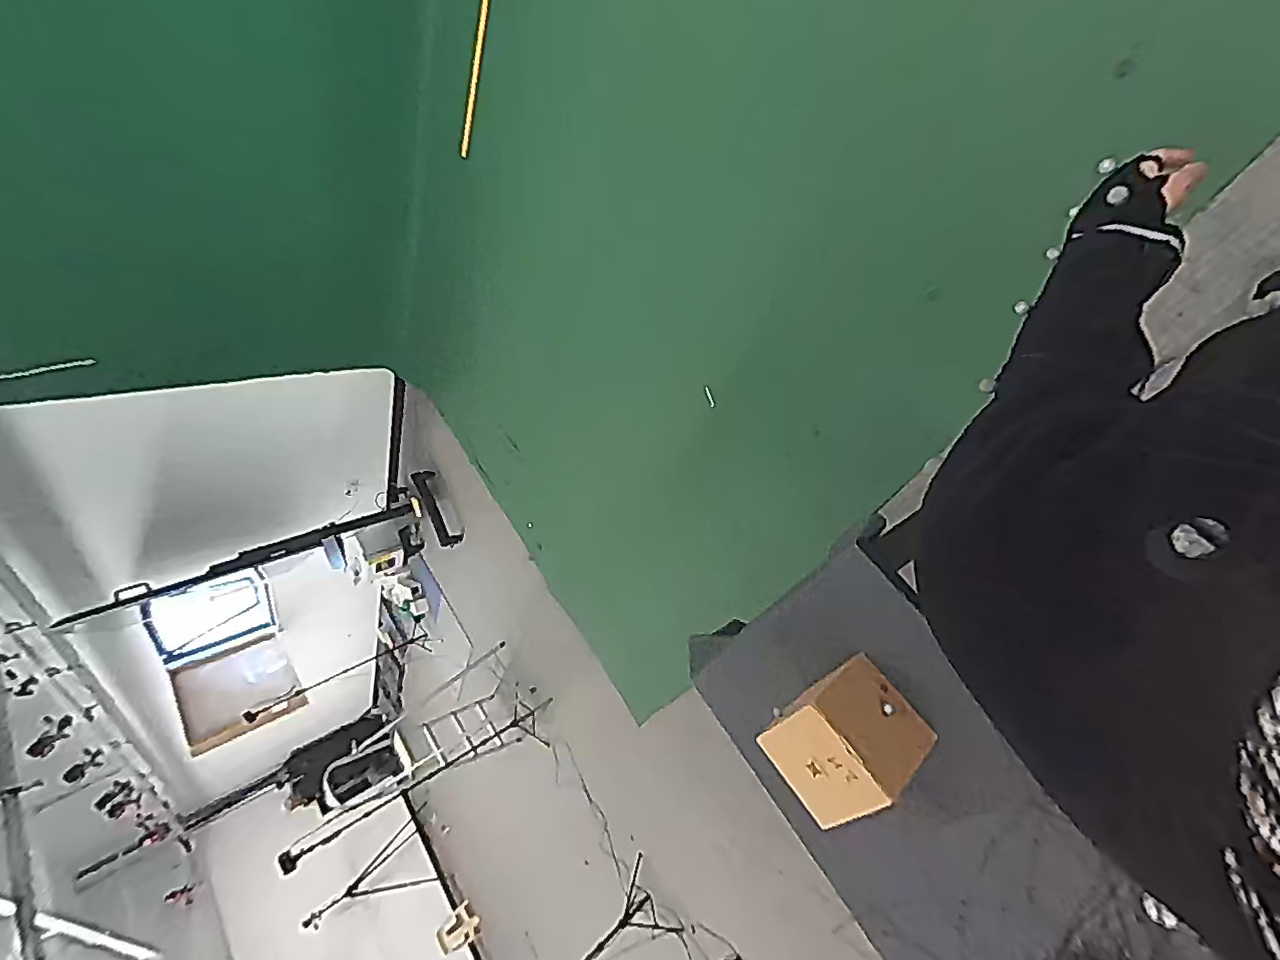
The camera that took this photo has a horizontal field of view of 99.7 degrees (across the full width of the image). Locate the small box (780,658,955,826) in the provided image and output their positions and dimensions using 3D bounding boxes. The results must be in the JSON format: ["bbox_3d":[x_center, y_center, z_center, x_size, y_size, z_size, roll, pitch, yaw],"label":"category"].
[{"bbox_3d":[0.377,0.430,0.900,0.168,0.176,0.179,54,135,23],"label":"small box"}]
